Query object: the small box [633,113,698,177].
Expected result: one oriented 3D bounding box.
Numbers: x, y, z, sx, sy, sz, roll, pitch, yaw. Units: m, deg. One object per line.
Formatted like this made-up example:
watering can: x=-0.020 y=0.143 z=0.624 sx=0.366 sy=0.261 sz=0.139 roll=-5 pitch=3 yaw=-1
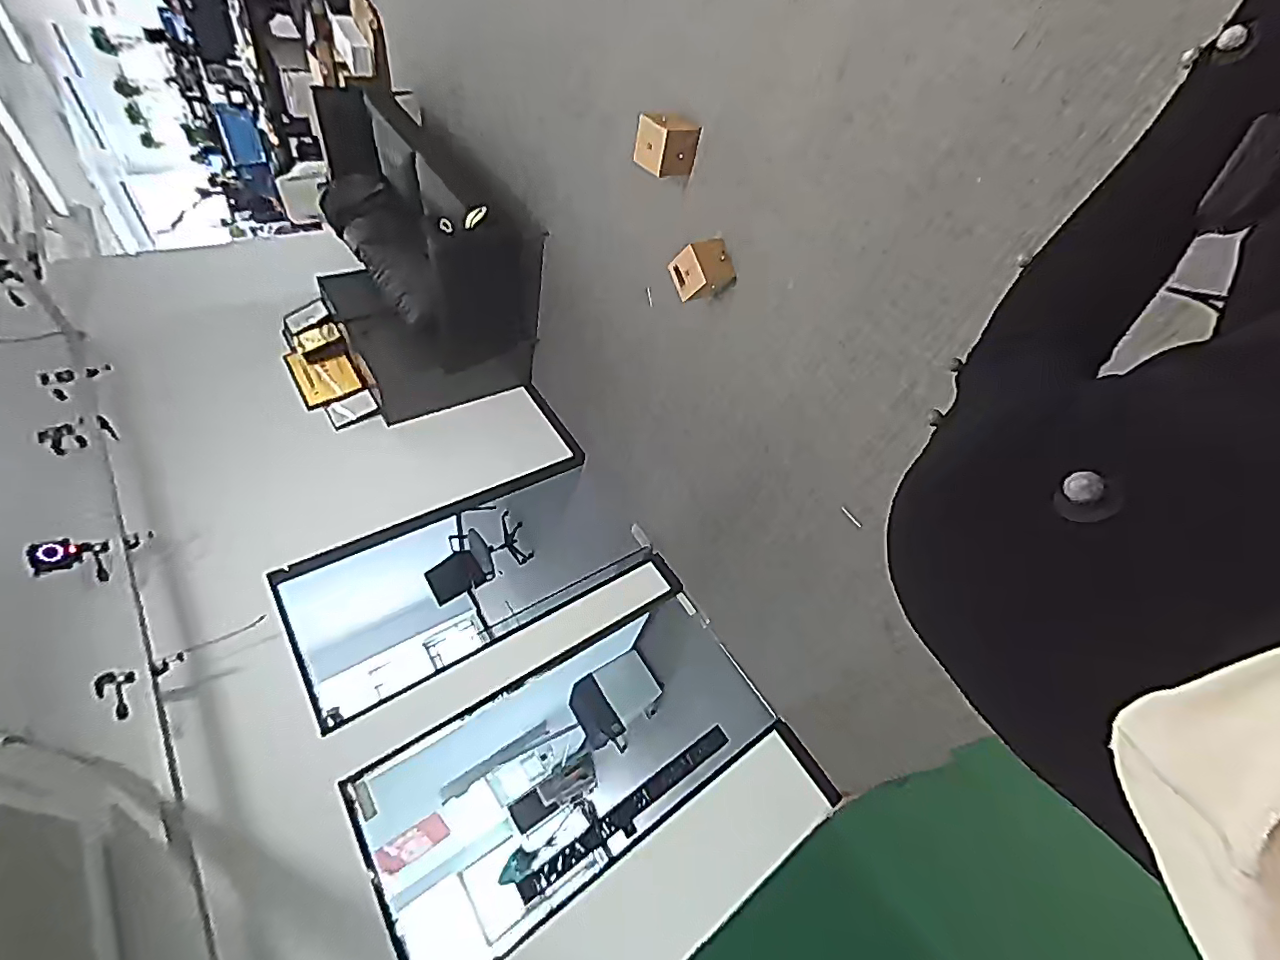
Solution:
small box: x=0.100 y=-1.310 z=2.104 sx=0.179 sy=0.176 sz=0.168 roll=50 pitch=146 yaw=27
